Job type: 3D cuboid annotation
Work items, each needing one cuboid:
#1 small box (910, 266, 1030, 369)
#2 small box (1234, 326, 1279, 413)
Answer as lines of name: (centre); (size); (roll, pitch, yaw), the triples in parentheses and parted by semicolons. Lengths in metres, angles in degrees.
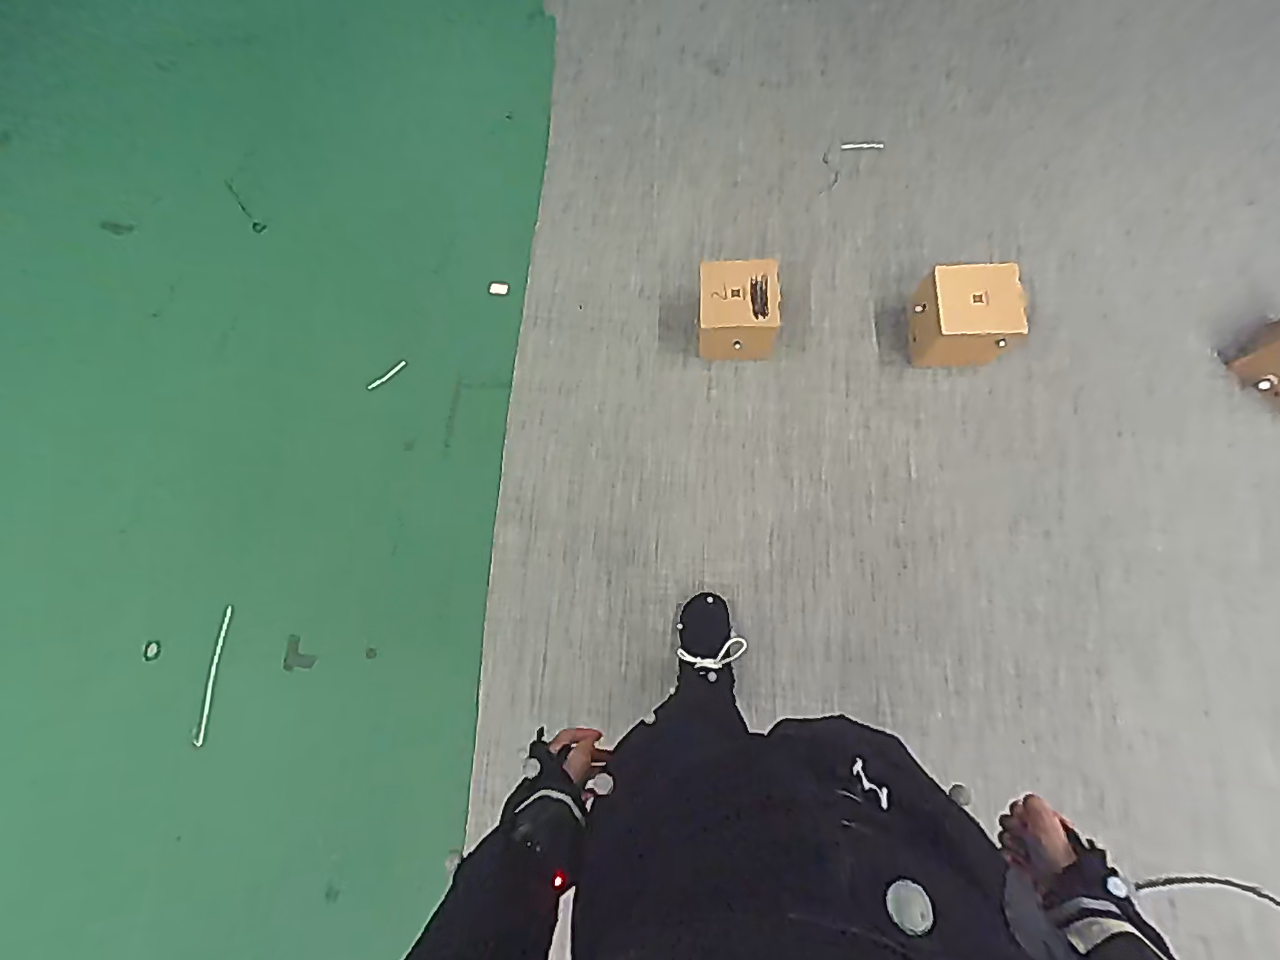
small box: (0.727, -0.358, 1.215); (0.179, 0.176, 0.168); (0, 77, 5)
small box: (1.431, -0.259, 1.125); (0.179, 0.176, 0.168); (-40, 75, -3)
